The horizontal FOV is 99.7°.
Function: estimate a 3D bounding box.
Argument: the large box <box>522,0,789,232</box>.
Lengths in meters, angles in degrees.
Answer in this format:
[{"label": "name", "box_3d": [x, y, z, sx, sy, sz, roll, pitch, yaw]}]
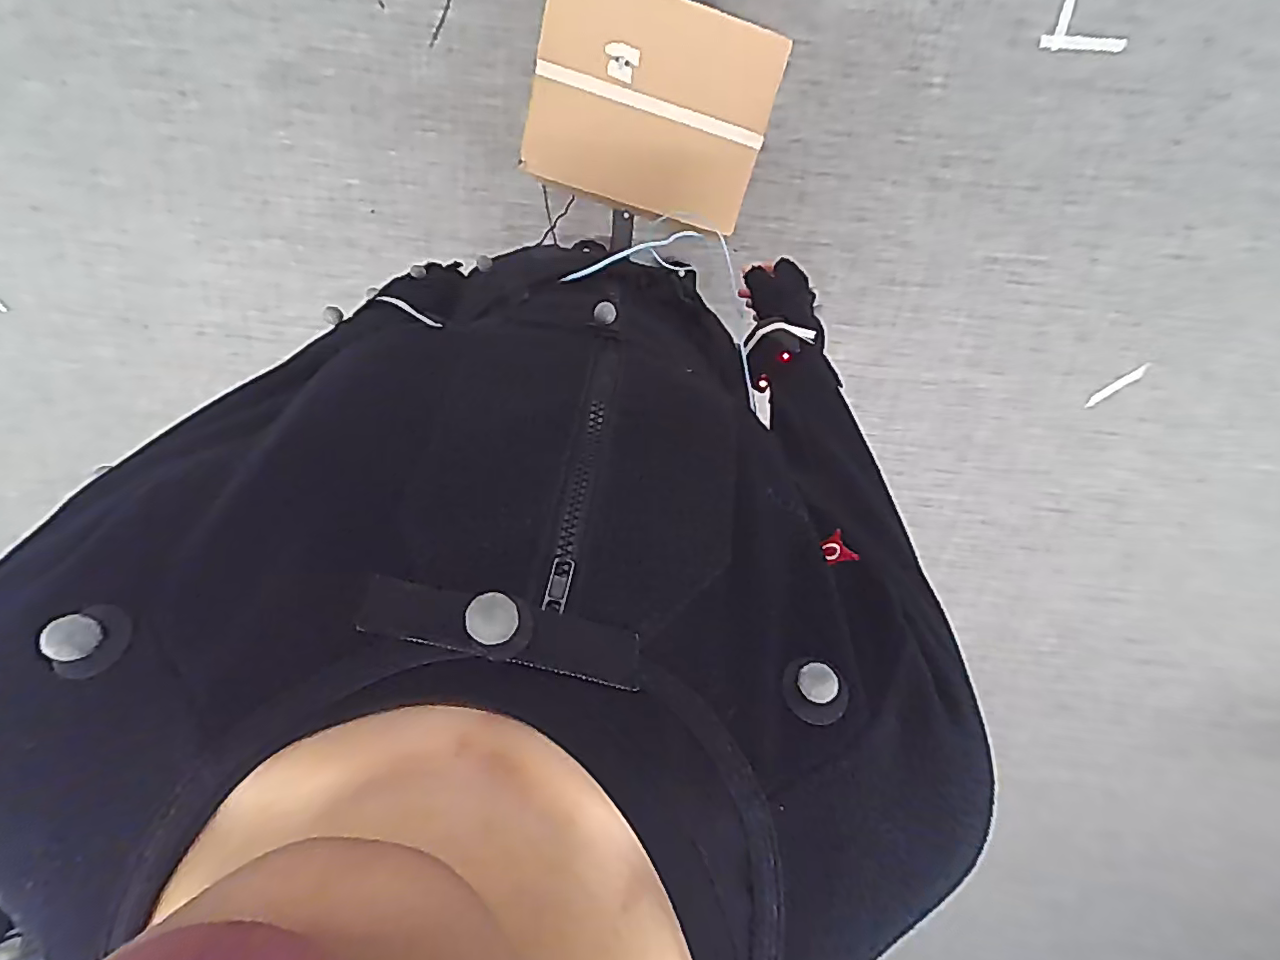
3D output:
[{"label": "large box", "box_3d": [0.019, -0.706, 1.068, 0.408, 0.320, 0.320, 15, 112, -7]}]
